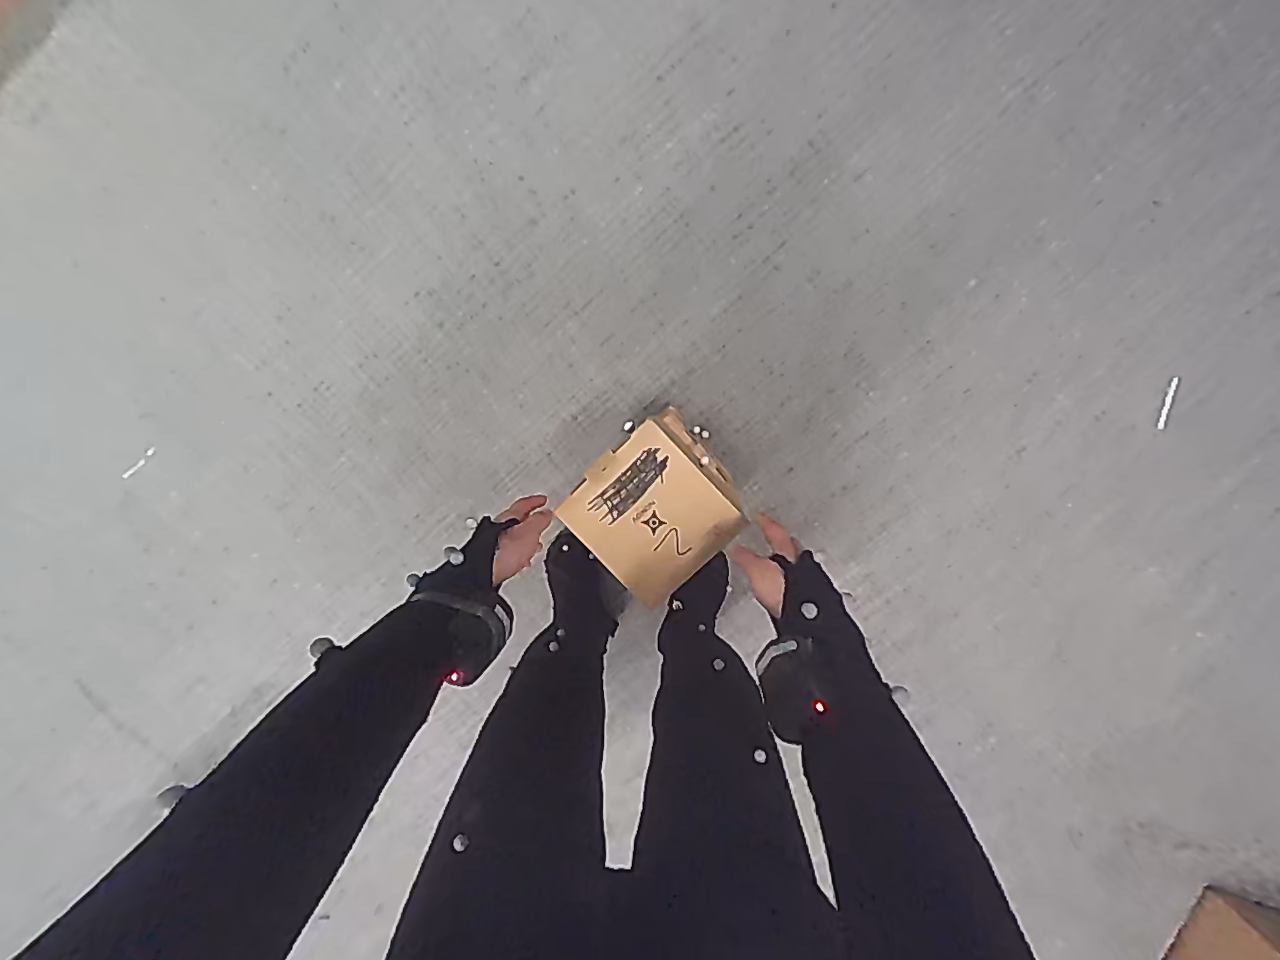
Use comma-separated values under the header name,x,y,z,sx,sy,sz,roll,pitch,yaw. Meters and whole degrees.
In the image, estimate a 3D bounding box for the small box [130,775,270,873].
name,x,y,z,sx,sy,sz,roll,pitch,yaw
small box,-1.009,0.832,1.249,0.168,0.176,0.179,42,99,-1

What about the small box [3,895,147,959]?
name,x,y,z,sx,sy,sz,roll,pitch,yaw
small box,-1.019,0.880,0.926,0.168,0.176,0.179,44,98,-3

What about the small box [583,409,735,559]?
name,x,y,z,sx,sy,sz,roll,pitch,yaw
small box,0.033,-0.003,0.892,0.179,0.176,0.168,-39,92,9

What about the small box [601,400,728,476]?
name,x,y,z,sx,sy,sz,roll,pitch,yaw
small box,0.049,-0.036,1.051,0.168,0.176,0.179,-39,93,9
